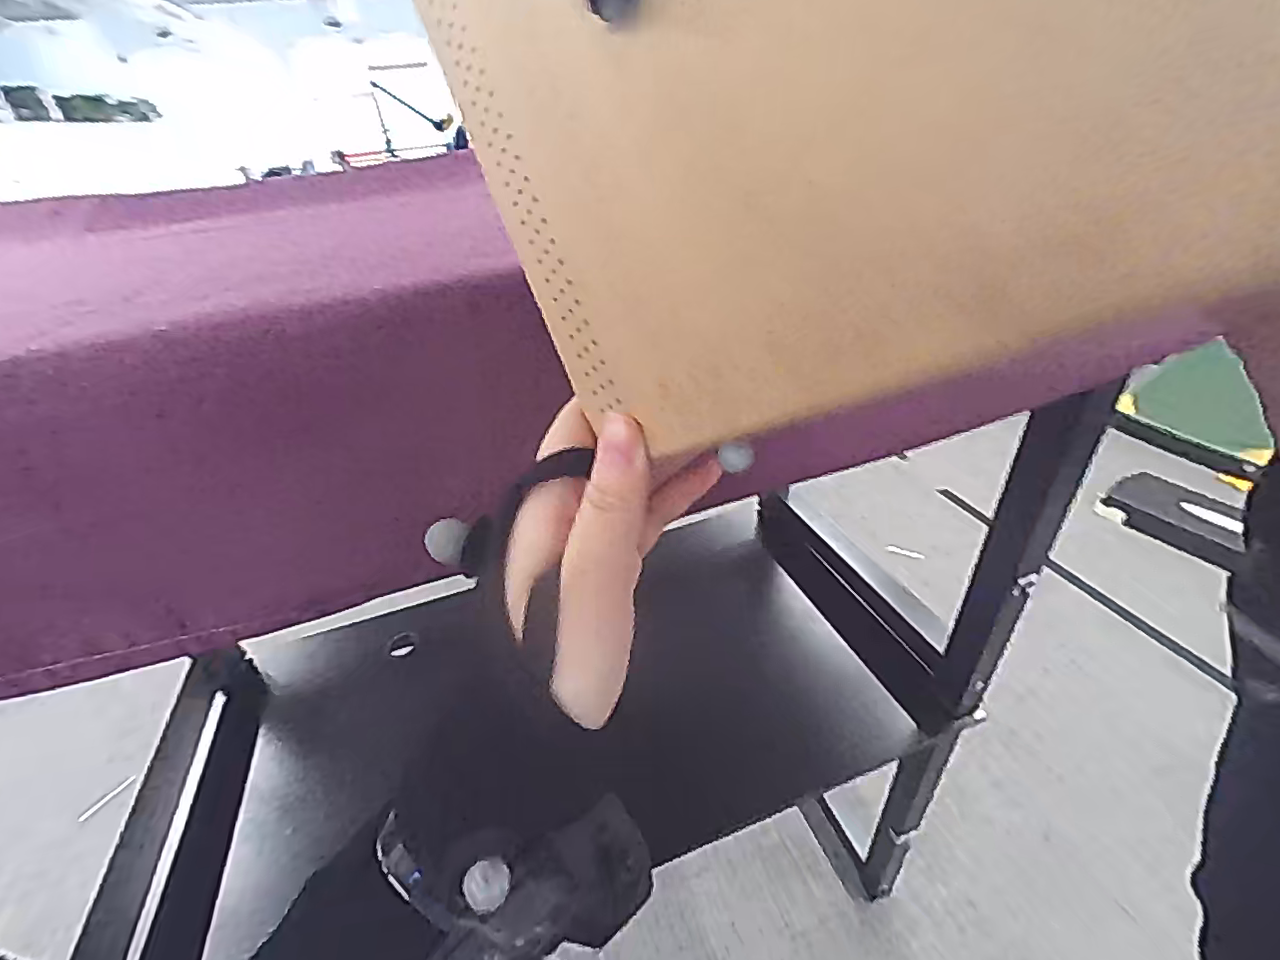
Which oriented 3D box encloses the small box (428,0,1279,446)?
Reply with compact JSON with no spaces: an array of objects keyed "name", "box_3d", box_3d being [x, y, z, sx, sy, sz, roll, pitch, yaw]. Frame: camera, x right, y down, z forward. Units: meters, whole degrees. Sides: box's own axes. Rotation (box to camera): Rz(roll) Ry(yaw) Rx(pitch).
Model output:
[{"name":"small box","box_3d":[0.063,-0.116,0.134,0.168,0.179,0.176,-25,6,-27]}]
